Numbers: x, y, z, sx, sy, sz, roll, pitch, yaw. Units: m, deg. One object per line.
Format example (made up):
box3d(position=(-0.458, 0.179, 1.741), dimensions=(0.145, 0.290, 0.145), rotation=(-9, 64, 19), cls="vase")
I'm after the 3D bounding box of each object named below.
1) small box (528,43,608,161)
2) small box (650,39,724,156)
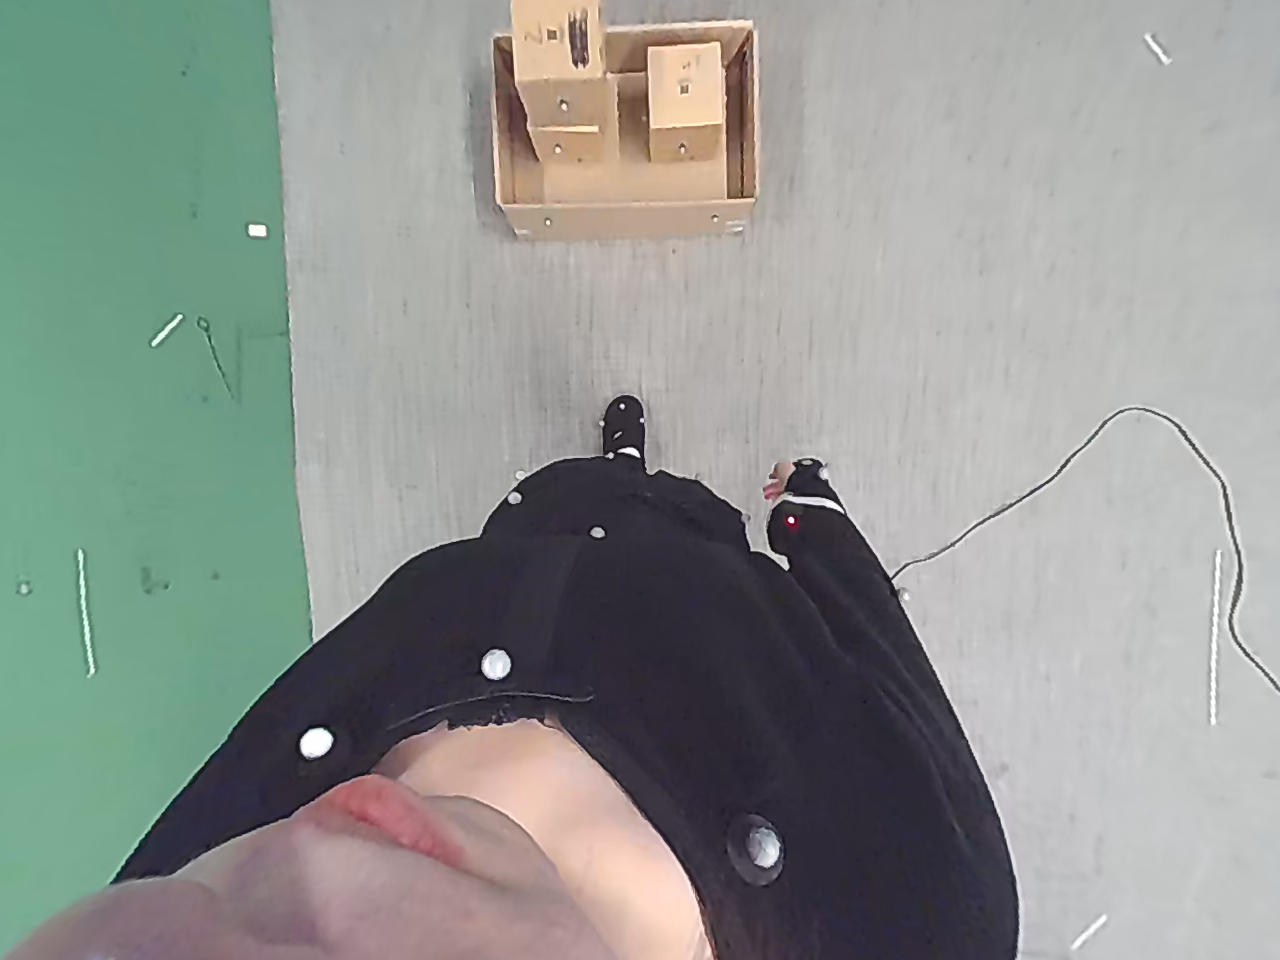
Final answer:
box3d(position=(-0.166, -0.890, 1.290), dimensions=(0.168, 0.176, 0.179), rotation=(3, 95, 0), cls="small box")
box3d(position=(0.108, -0.893, 1.282), dimensions=(0.168, 0.176, 0.179), rotation=(-1, 96, 1), cls="small box")
